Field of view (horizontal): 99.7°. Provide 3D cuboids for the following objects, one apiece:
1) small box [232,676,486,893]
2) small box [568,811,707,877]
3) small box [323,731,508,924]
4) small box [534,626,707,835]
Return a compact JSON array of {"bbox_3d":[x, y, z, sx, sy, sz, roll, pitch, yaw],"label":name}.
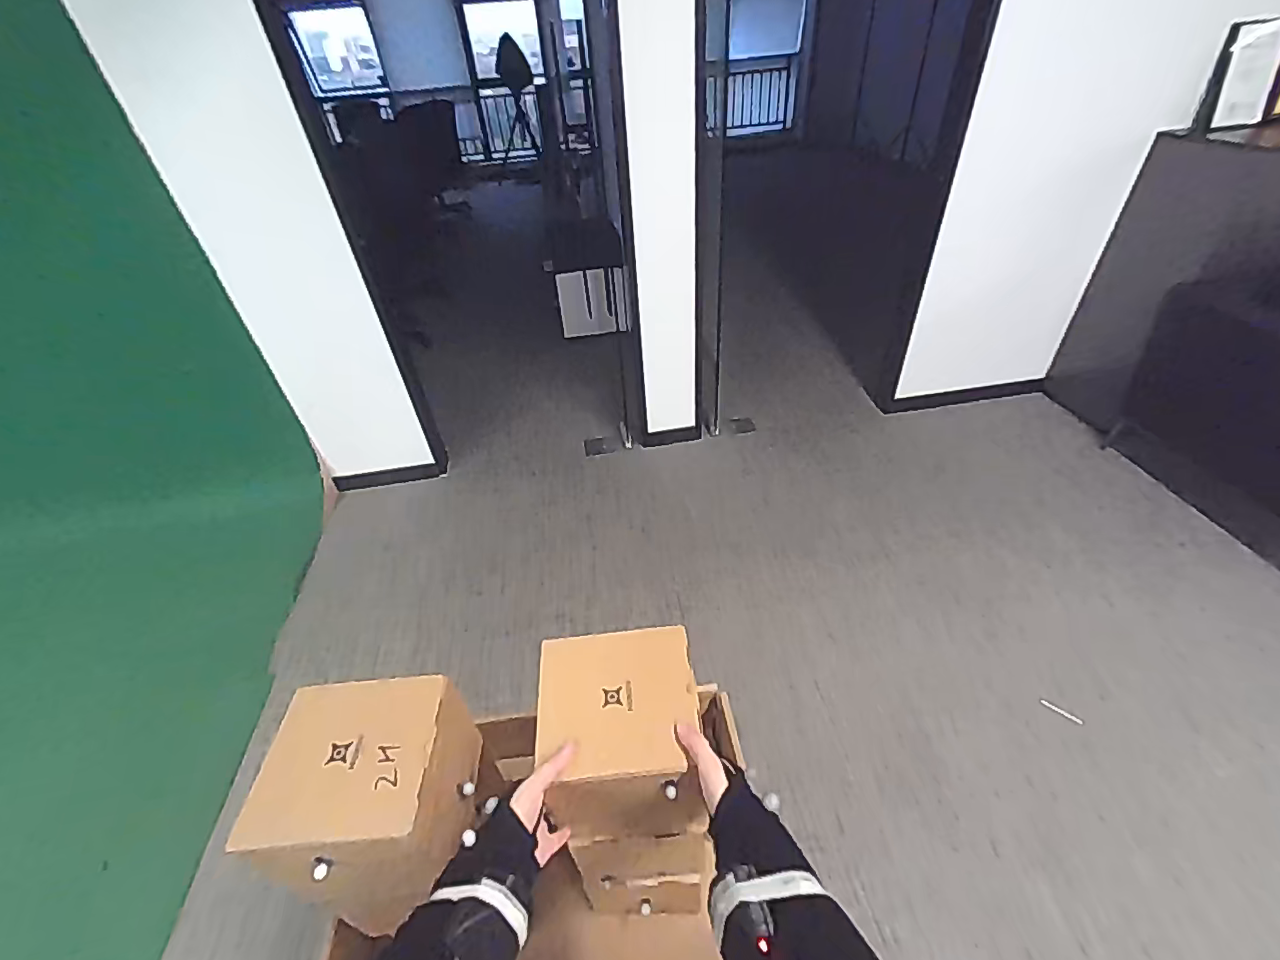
[{"bbox_3d":[-0.295,0.348,0.617,0.179,0.176,0.168,-5,40,1],"label":"small box"},{"bbox_3d":[0.000,0.424,0.749,0.168,0.176,0.179,-6,39,0],"label":"small box"},{"bbox_3d":[-0.282,0.470,0.729,0.168,0.176,0.179,-7,39,-2],"label":"small box"},{"bbox_3d":[-0.018,0.300,0.646,0.179,0.176,0.168,-6,40,-1],"label":"small box"}]
